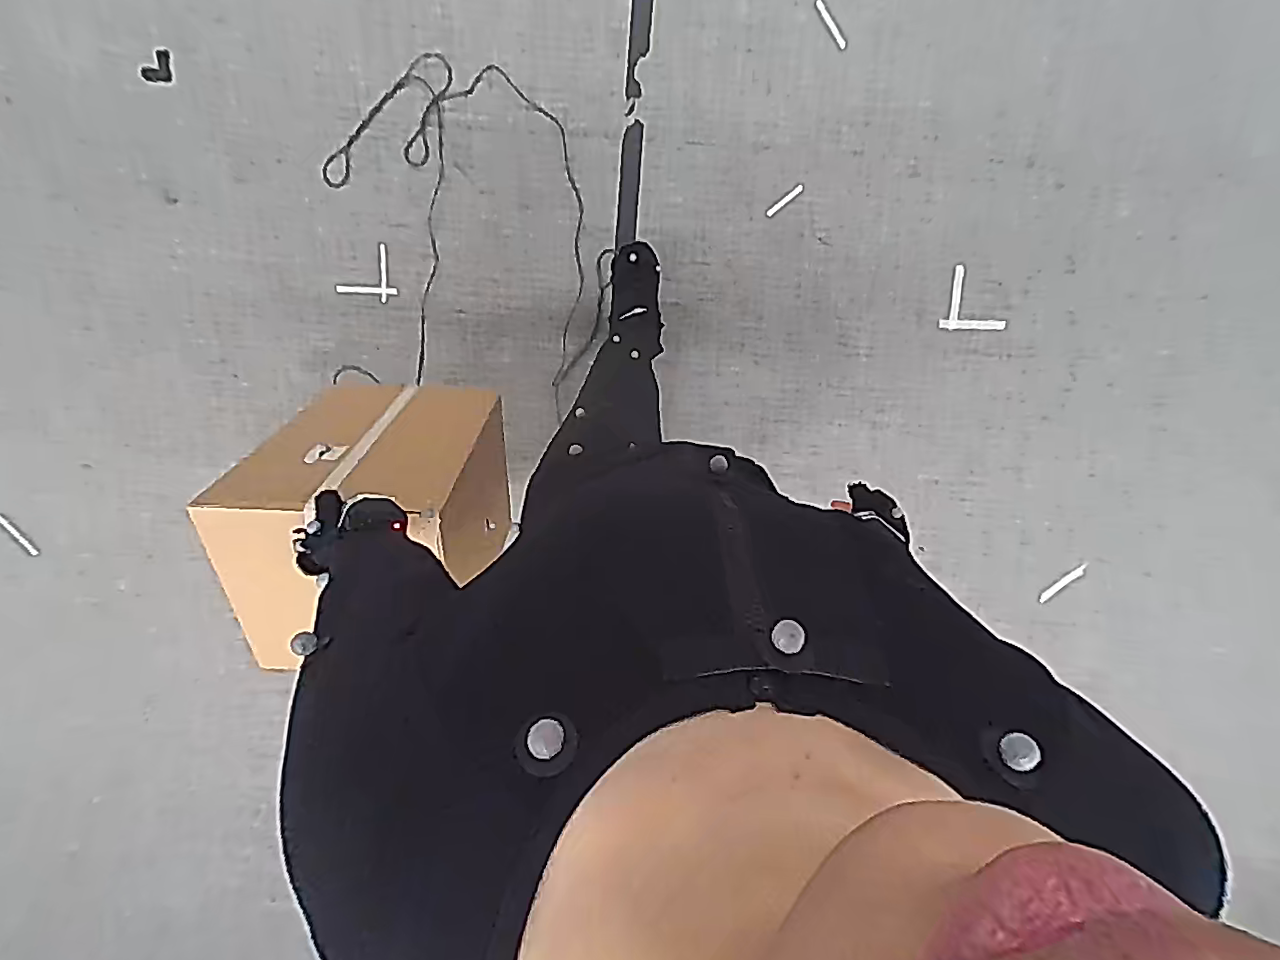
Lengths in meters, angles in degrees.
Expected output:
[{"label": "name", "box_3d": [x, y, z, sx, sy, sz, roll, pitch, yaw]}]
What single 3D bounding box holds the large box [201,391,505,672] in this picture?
[{"label": "large box", "box_3d": [-0.428, 0.069, 0.940, 0.320, 0.408, 0.320, 1, 121, -3]}]
